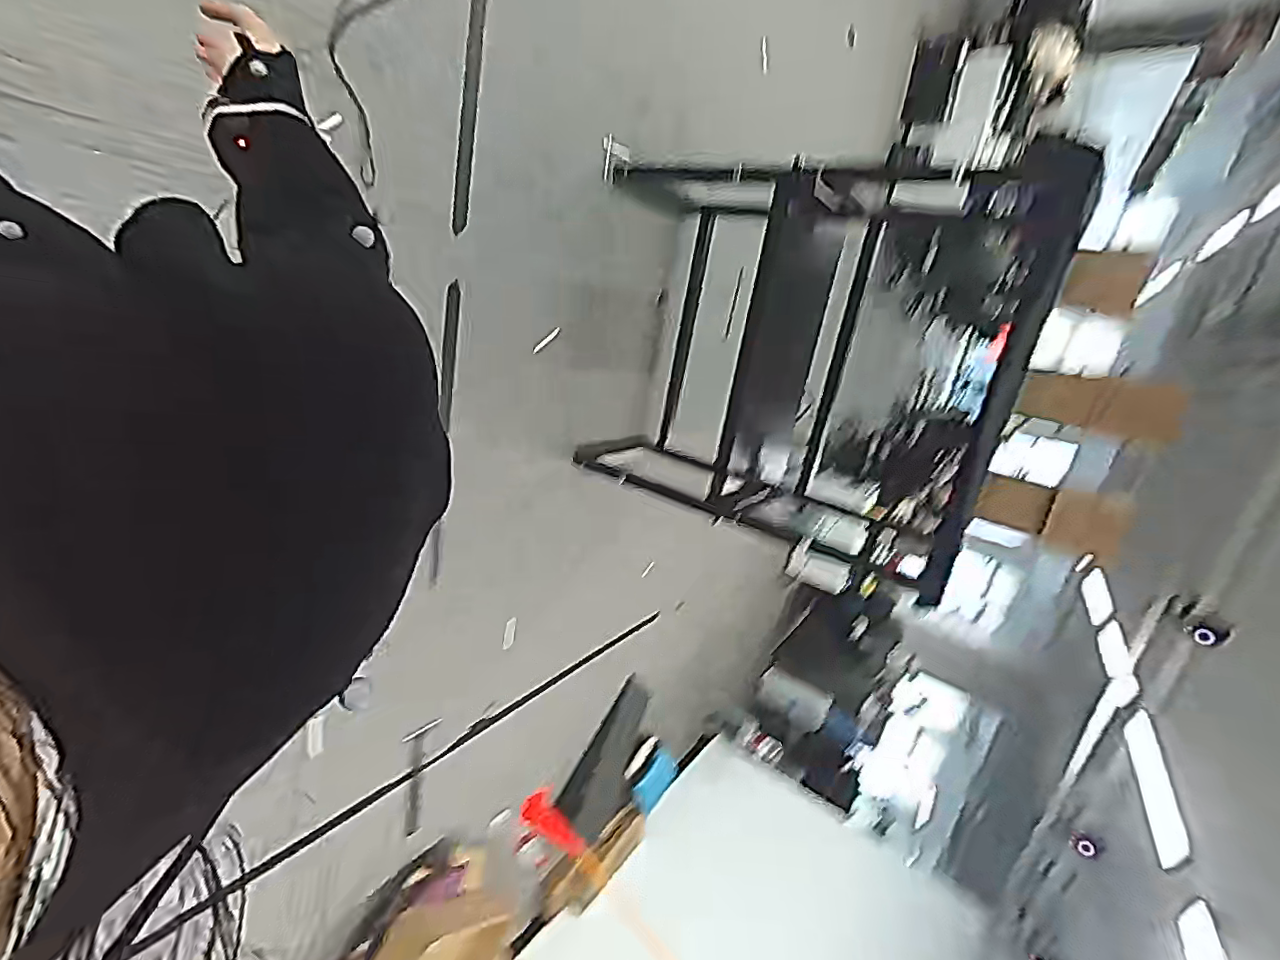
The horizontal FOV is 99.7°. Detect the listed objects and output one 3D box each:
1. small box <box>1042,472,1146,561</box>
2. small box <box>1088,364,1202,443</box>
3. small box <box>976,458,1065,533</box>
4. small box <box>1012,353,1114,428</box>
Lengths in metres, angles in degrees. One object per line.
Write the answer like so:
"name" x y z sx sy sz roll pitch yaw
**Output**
"small box" 1.191 0.091 1.437 0.179 0.176 0.168 -19 124 -53
"small box" 1.262 -0.194 1.377 0.179 0.176 0.168 -9 116 -57
"small box" 1.078 0.039 1.546 0.179 0.176 0.168 -9 115 -57
"small box" 1.126 -0.243 1.457 0.179 0.176 0.168 -14 118 -56
